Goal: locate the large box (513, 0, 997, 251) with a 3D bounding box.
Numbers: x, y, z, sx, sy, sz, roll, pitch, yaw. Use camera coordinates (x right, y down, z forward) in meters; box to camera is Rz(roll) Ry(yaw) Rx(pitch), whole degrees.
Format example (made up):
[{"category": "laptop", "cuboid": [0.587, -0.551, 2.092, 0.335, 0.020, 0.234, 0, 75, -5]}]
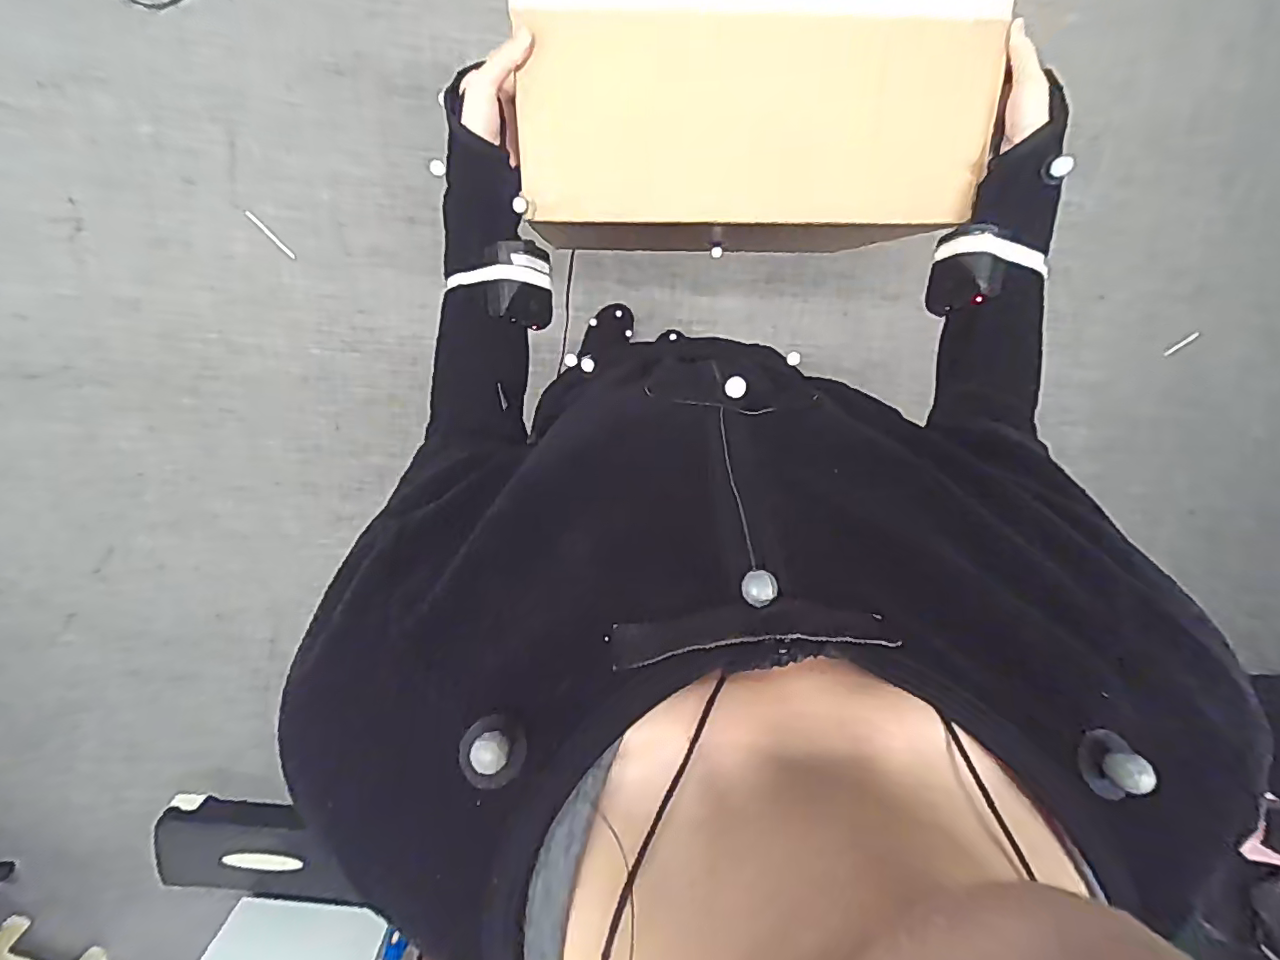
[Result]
[{"category": "large box", "cuboid": [0.091, -0.425, 0.582, 0.408, 0.320, 0.320, -1, 108, -3]}]
